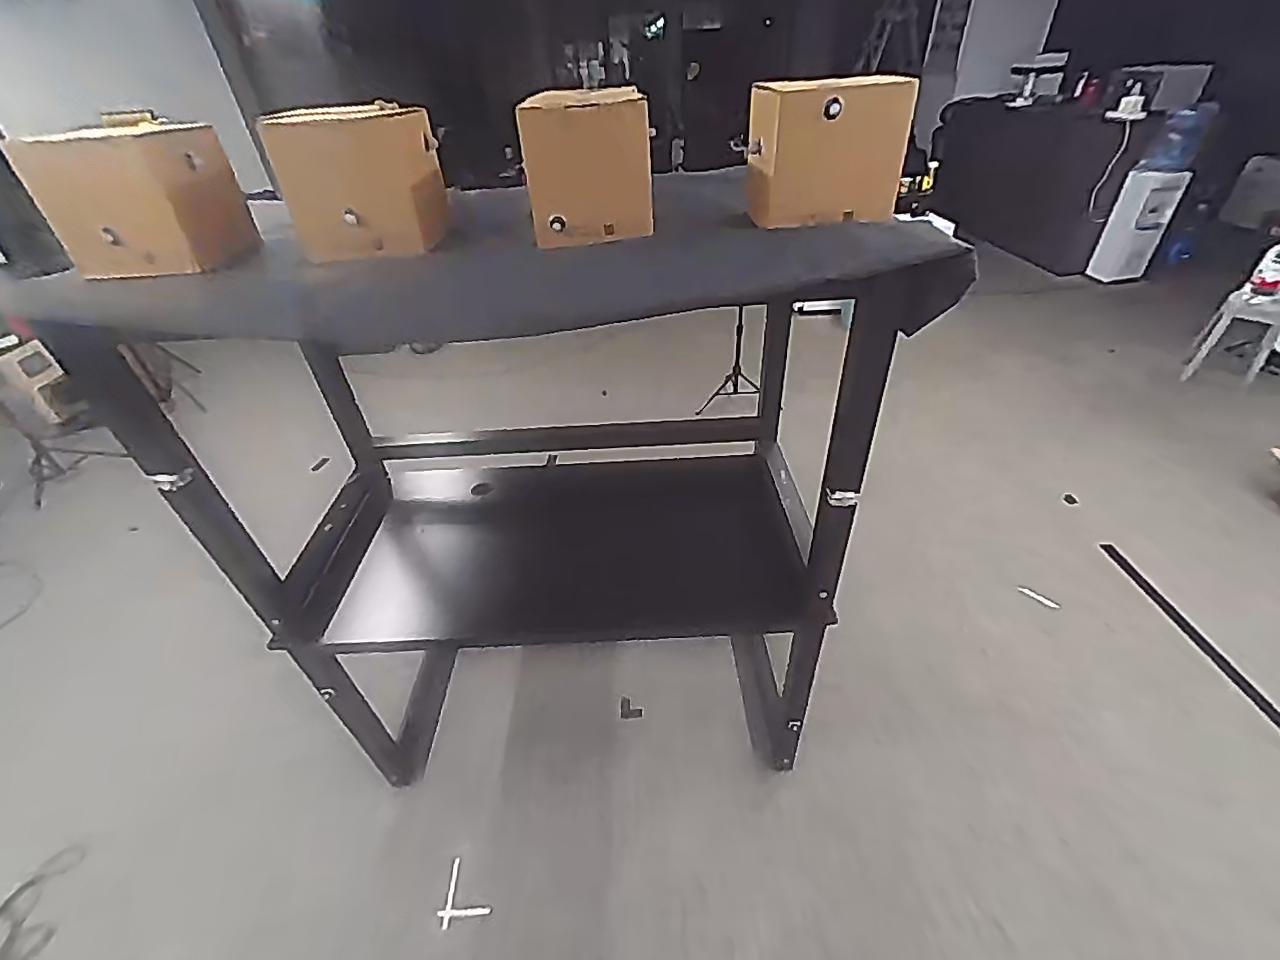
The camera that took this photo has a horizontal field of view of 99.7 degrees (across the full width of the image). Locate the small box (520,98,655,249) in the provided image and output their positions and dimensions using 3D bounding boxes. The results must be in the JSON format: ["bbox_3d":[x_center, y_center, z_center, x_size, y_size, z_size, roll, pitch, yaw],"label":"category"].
[{"bbox_3d":[-0.067,-0.440,0.783,0.168,0.176,0.179,-4,37,-1],"label":"small box"}]

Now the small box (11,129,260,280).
[{"bbox_3d":[-0.688,-0.395,0.773,0.168,0.176,0.179,-4,37,-2],"label":"small box"}]

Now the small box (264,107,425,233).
[{"bbox_3d":[-0.502,-0.546,0.953,0.179,0.176,0.168,-5,38,-2],"label":"small box"}]

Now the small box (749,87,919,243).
[{"bbox_3d":[0.251,-0.438,0.752,0.168,0.176,0.179,-4,37,1],"label":"small box"}]
